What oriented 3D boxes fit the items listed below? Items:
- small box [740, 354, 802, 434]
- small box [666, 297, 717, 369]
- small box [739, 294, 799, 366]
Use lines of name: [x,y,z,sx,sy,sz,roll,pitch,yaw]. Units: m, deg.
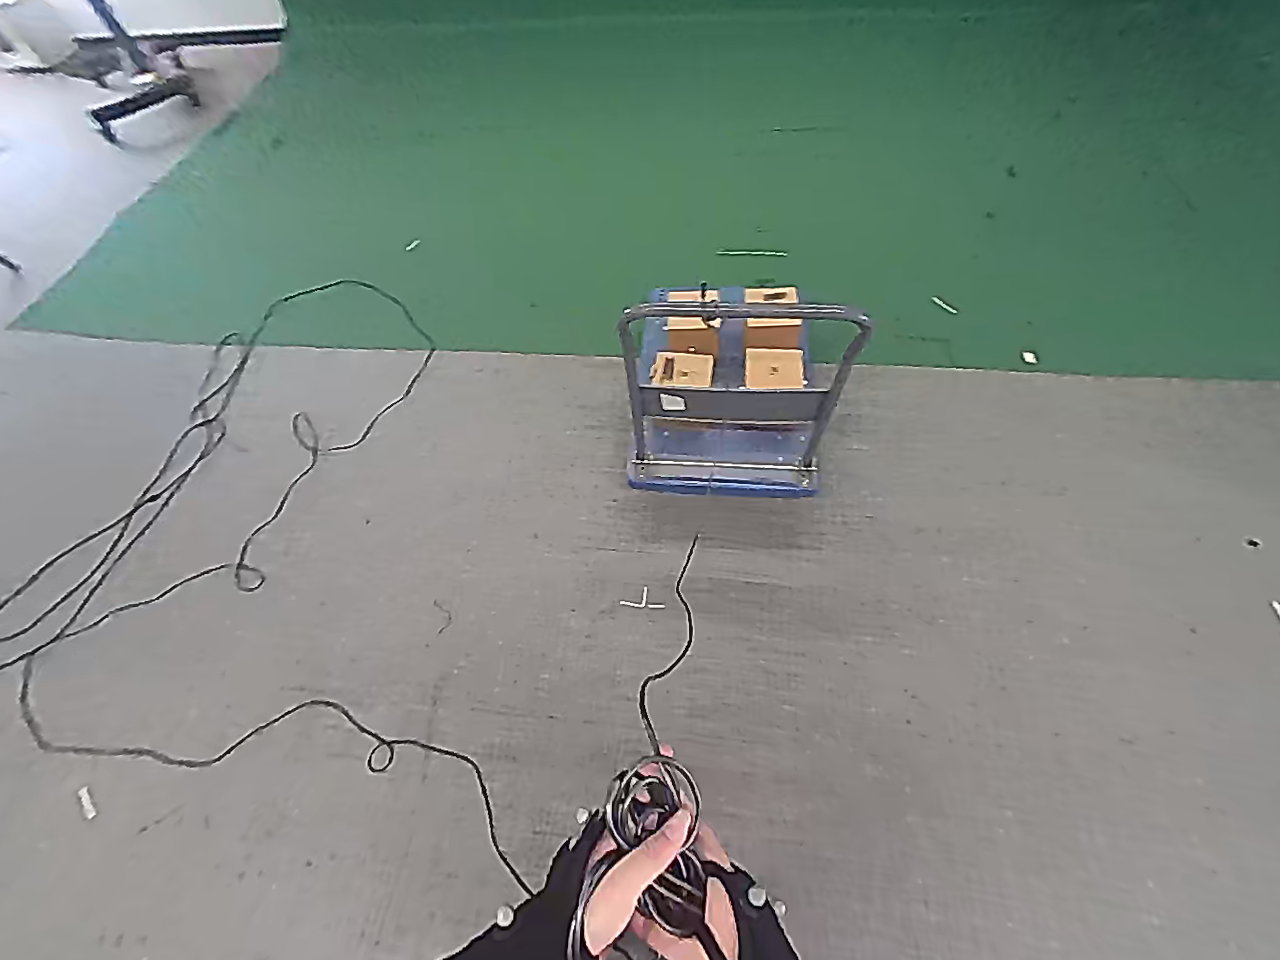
small box: [0.399,-0.265,1.666,0.168,0.176,0.179,3,59,7]
small box: [0.174,-0.489,1.824,0.168,0.176,0.179,-1,58,4]
small box: [0.424,-0.495,1.804,0.168,0.176,0.179,-1,59,5]
